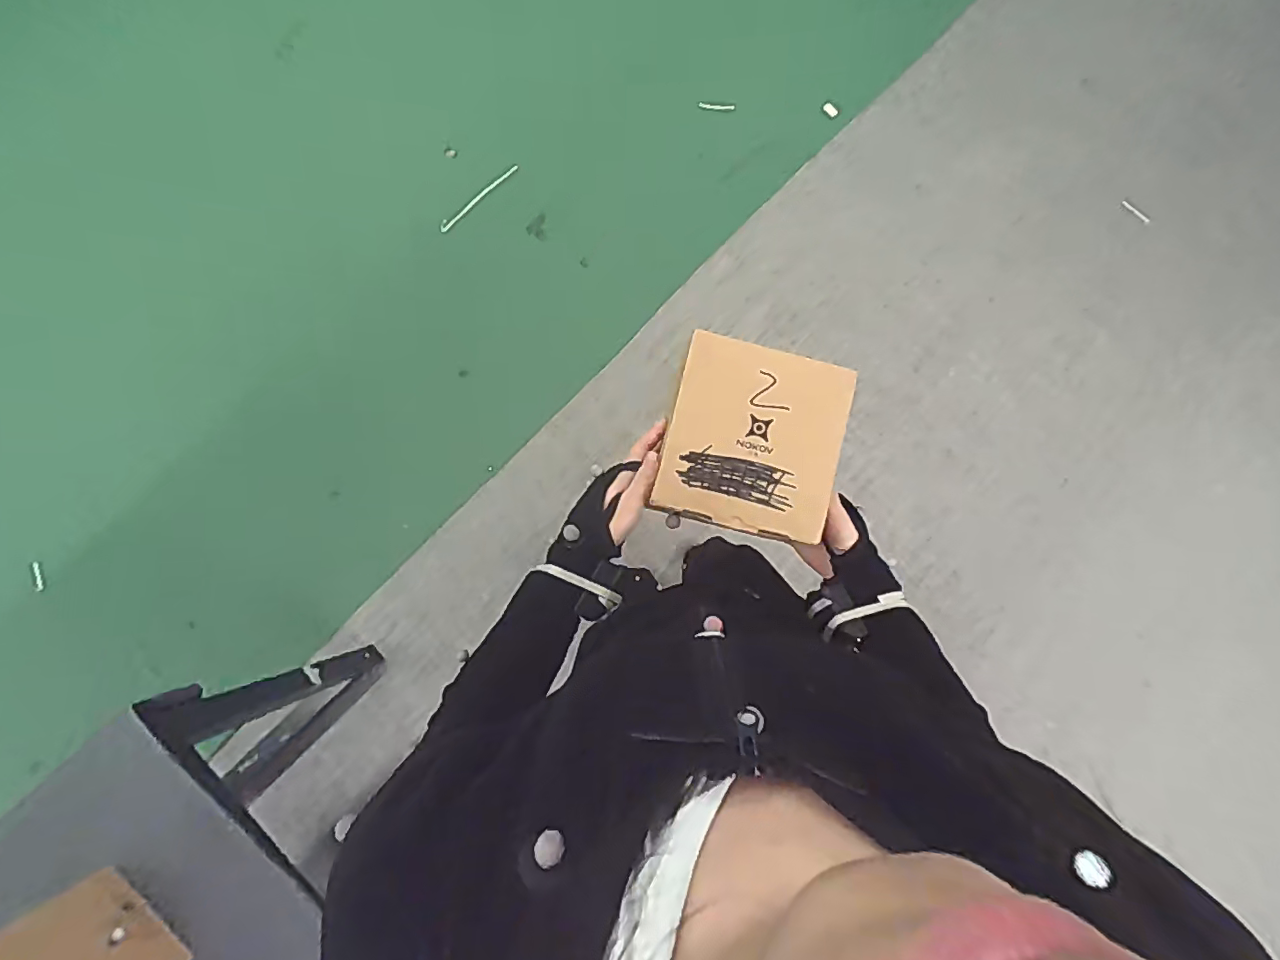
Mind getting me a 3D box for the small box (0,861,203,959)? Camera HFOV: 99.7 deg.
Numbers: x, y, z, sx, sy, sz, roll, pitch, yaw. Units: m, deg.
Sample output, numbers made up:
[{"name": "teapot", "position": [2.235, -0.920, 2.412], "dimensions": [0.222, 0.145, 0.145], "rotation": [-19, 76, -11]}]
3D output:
[{"name": "small box", "position": [-0.681, 0.610, 0.631], "dimensions": [0.168, 0.176, 0.179], "rotation": [43, 84, 5]}]
